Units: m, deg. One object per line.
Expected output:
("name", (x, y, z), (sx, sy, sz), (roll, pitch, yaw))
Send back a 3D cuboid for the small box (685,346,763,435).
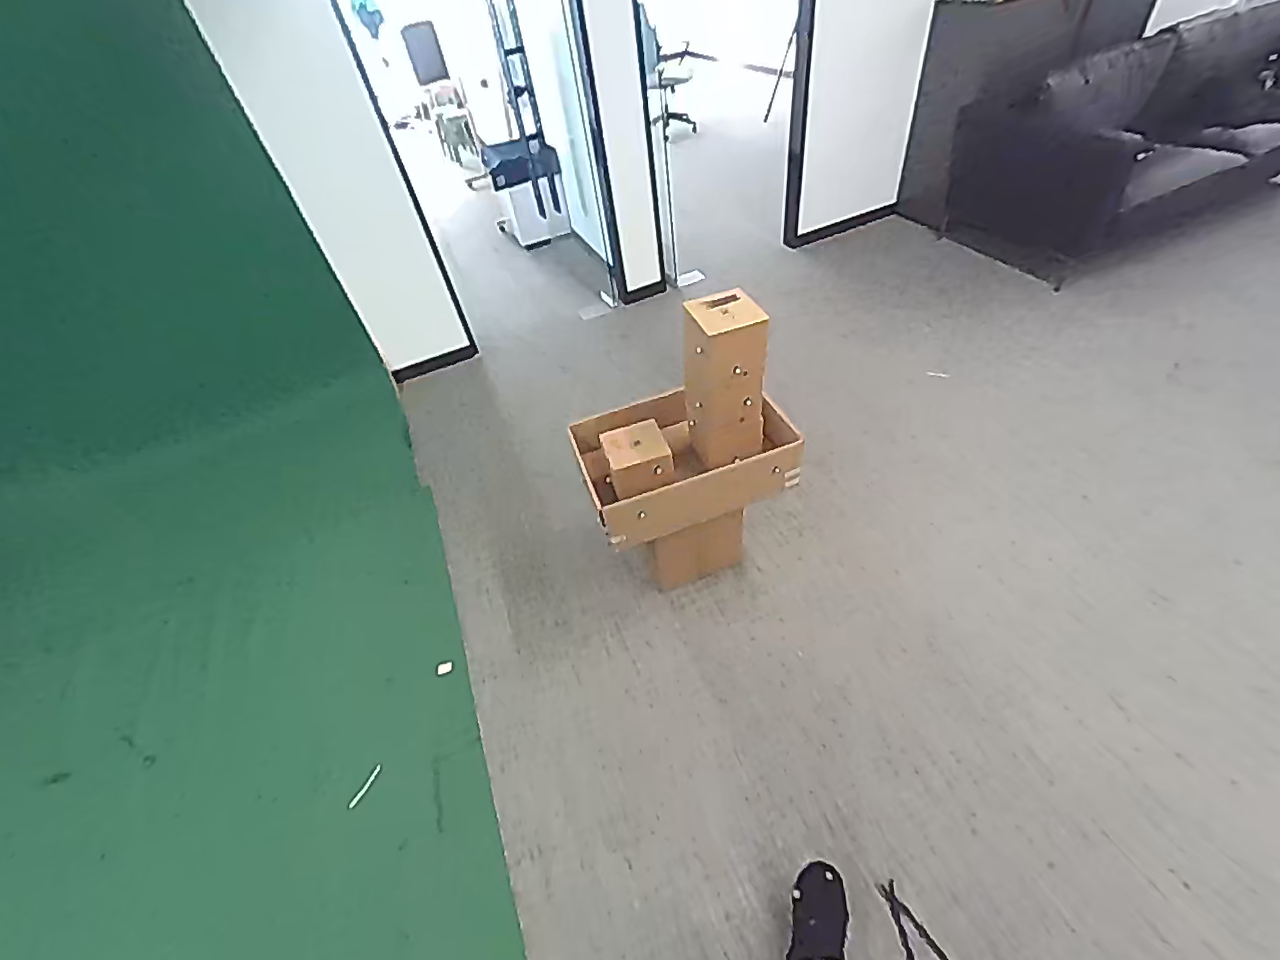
("small box", (0.237, -0.247, 1.535), (0.168, 0.176, 0.179), (-18, 46, -8))
